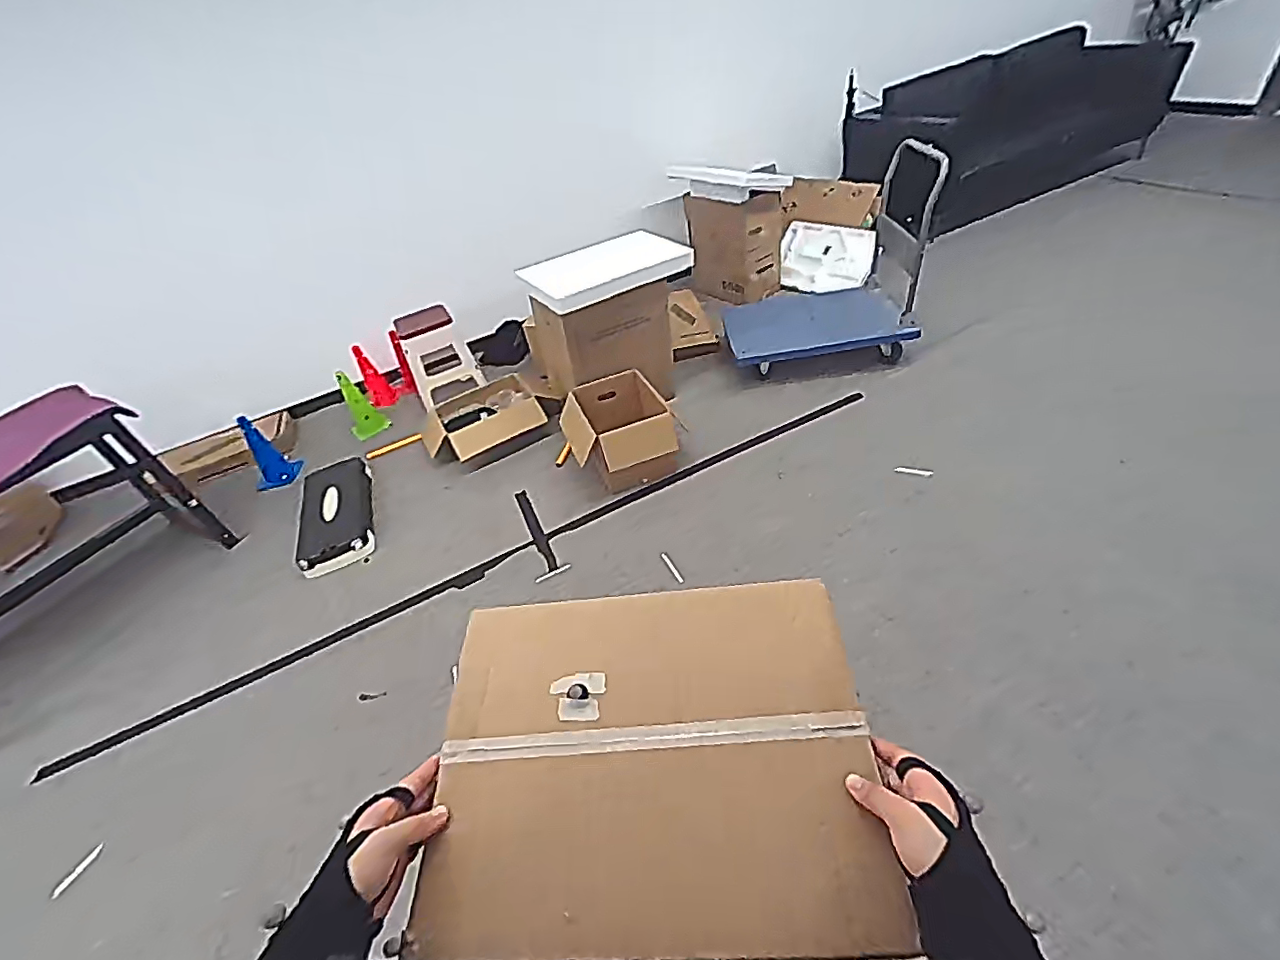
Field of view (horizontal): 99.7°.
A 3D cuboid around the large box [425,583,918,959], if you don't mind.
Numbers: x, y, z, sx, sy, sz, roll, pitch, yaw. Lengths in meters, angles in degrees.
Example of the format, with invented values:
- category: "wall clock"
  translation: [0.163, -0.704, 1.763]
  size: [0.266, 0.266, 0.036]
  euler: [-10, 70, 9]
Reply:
- category: "large box"
  translation: [0.037, 0.353, 0.633]
  size: [0.408, 0.320, 0.320]
  euler: [-8, 46, 6]
